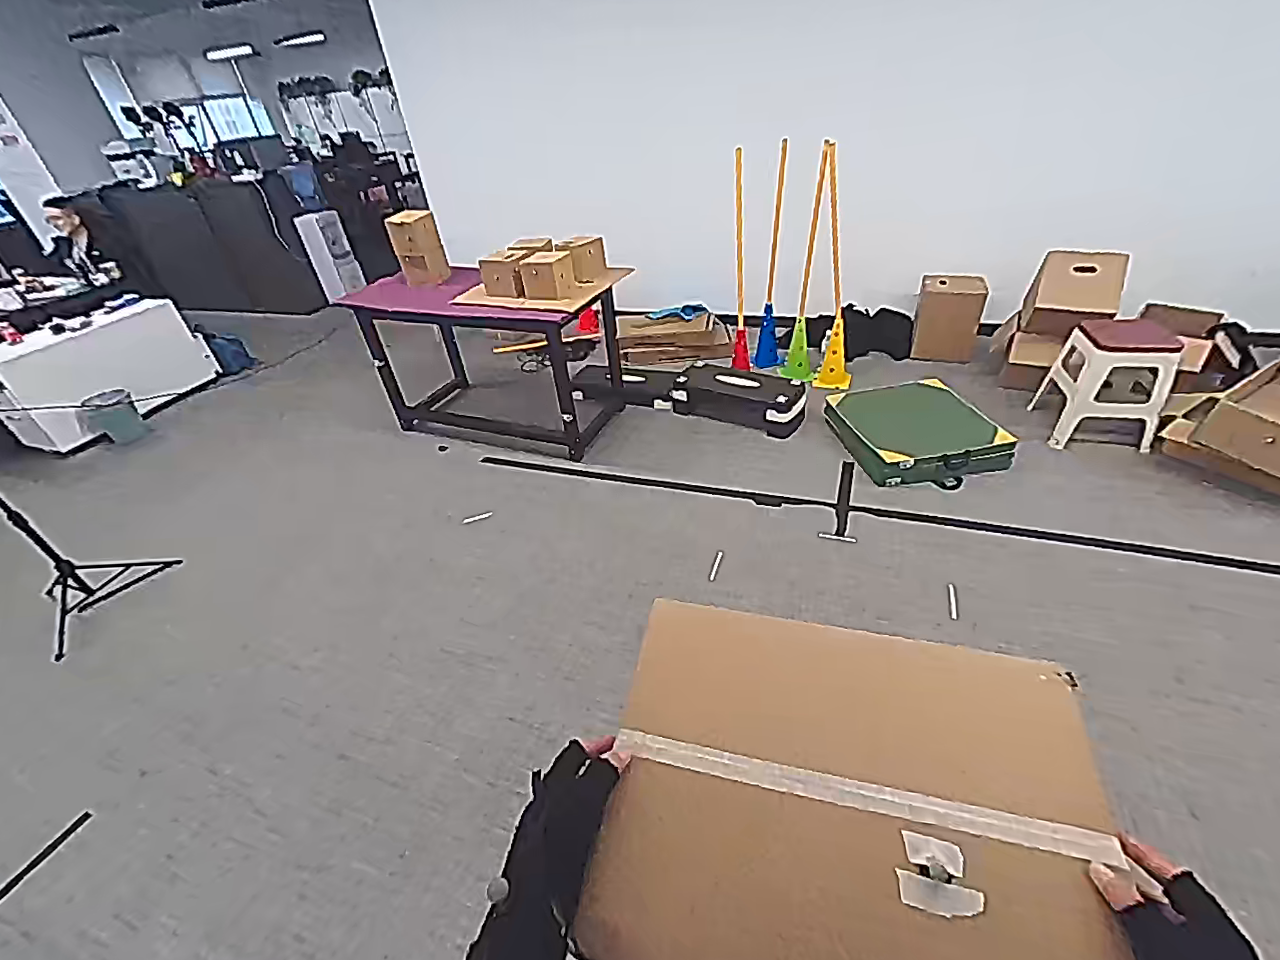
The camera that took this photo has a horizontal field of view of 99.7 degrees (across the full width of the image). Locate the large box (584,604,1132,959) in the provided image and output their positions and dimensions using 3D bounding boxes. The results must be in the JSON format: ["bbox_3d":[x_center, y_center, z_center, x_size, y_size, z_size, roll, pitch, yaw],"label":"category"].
[{"bbox_3d":[0.192,0.372,0.587,0.408,0.320,0.320,6,49,14],"label":"large box"}]
